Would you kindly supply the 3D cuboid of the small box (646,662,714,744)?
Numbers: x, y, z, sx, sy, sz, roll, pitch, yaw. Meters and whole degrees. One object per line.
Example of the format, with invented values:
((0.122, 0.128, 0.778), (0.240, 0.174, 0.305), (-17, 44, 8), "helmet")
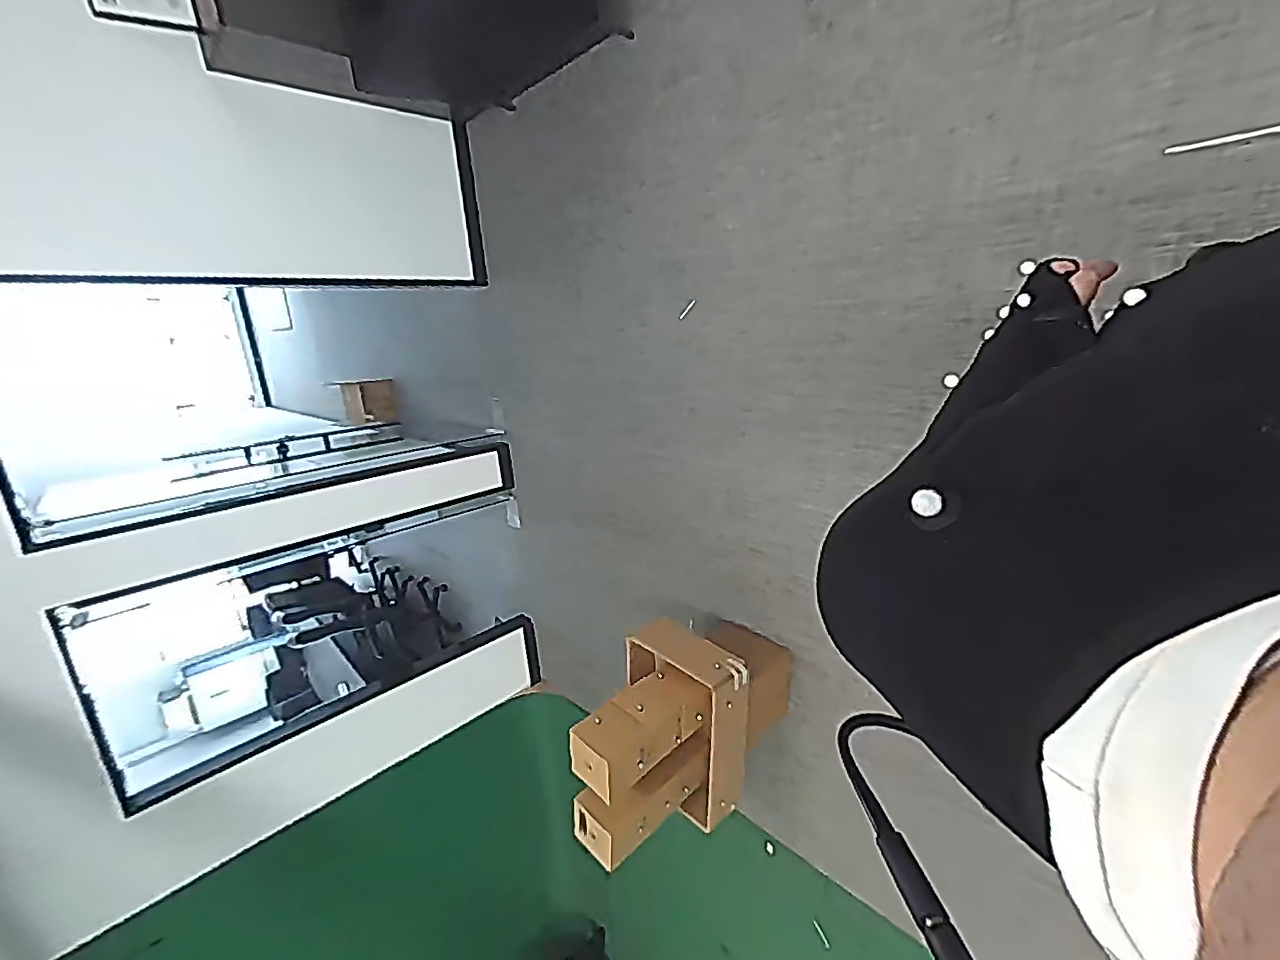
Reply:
((0.139, 0.759, 1.866), (0.179, 0.176, 0.168), (18, 116, 43), "small box")

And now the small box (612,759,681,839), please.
((0.024, 1.057, 1.841), (0.179, 0.176, 0.168), (19, 115, 42), "small box")

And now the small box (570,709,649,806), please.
((-0.093, 0.833, 1.647), (0.179, 0.176, 0.168), (18, 116, 42), "small box")

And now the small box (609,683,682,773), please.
((0.021, 0.795, 1.758), (0.179, 0.176, 0.168), (18, 116, 43), "small box")
